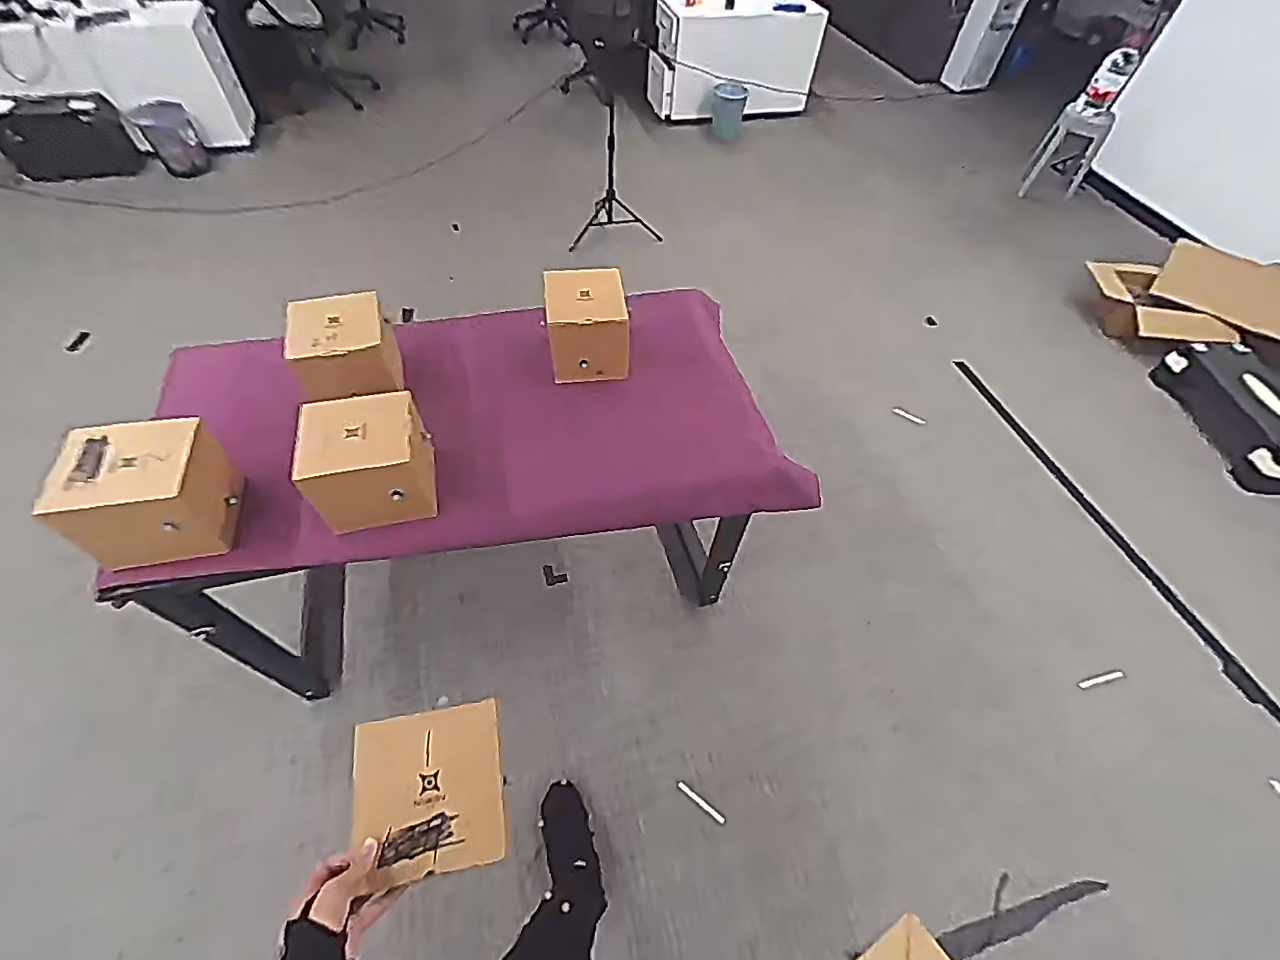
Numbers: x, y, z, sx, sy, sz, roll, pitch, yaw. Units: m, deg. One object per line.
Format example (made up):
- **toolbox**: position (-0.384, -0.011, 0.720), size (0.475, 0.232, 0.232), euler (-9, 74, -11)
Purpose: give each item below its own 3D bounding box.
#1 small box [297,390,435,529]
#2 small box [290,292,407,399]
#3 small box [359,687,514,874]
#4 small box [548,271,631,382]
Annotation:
- **small box**: position (-0.466, -0.034, 0.951), size (0.179, 0.176, 0.168), euler (-9, 55, -11)
- **small box**: position (-0.586, -0.254, 1.106), size (0.168, 0.176, 0.179), euler (-13, 56, -13)
- **small box**: position (-0.258, 0.378, 0.714), size (0.168, 0.176, 0.179), euler (-5, 68, -14)
- **small box**: position (-0.115, -0.340, 1.200), size (0.168, 0.176, 0.179), euler (-5, 56, -7)
